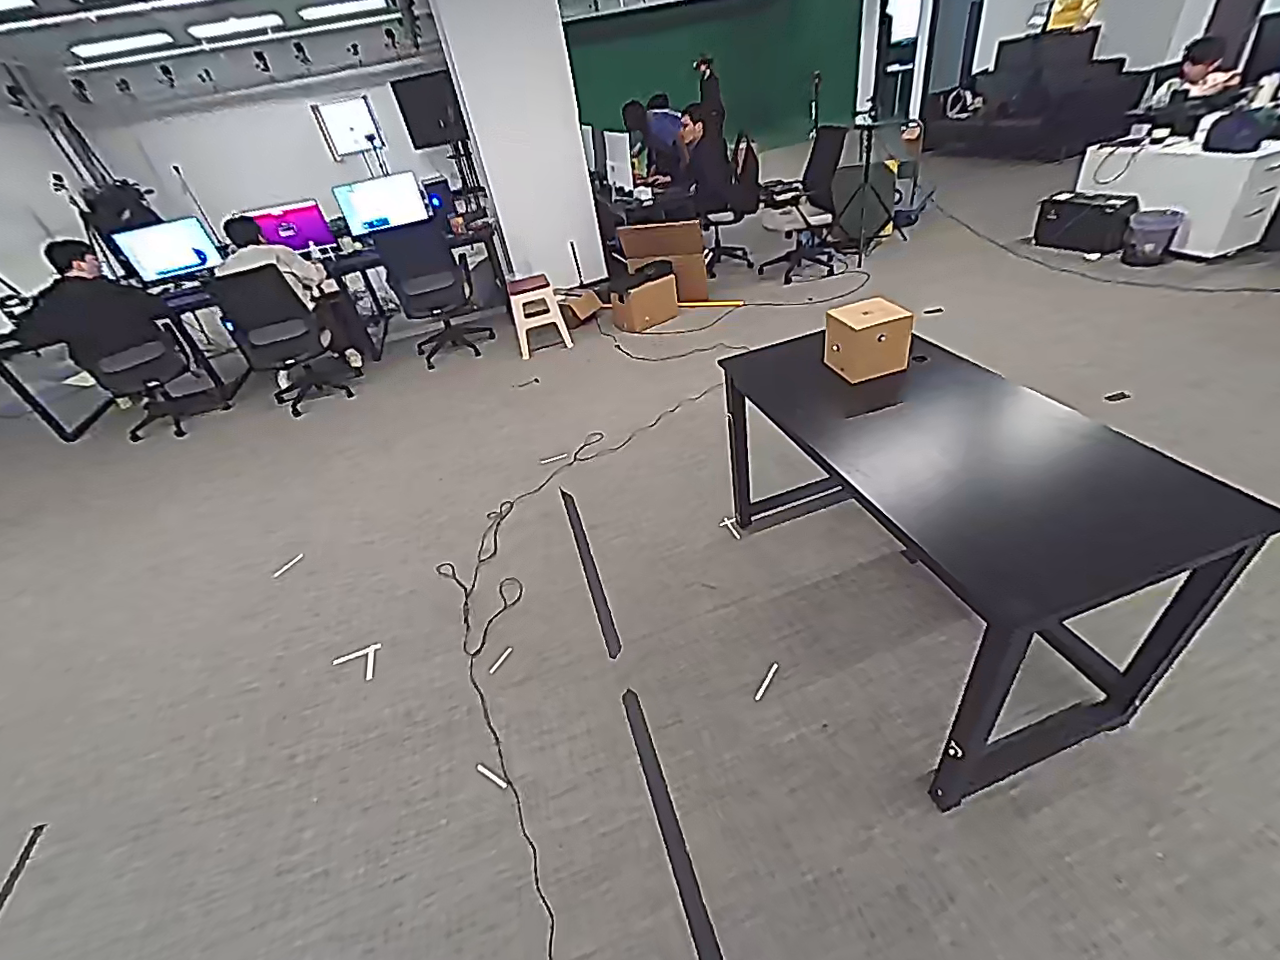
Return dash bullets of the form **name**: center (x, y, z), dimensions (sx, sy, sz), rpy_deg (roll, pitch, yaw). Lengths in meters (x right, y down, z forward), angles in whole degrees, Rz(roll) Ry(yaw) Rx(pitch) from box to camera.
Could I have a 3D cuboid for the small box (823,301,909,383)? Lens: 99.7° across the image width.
- **small box**: center (0.658, -0.403, 1.594), dimensions (0.179, 0.176, 0.168), rpy_deg (-16, 37, -6)
